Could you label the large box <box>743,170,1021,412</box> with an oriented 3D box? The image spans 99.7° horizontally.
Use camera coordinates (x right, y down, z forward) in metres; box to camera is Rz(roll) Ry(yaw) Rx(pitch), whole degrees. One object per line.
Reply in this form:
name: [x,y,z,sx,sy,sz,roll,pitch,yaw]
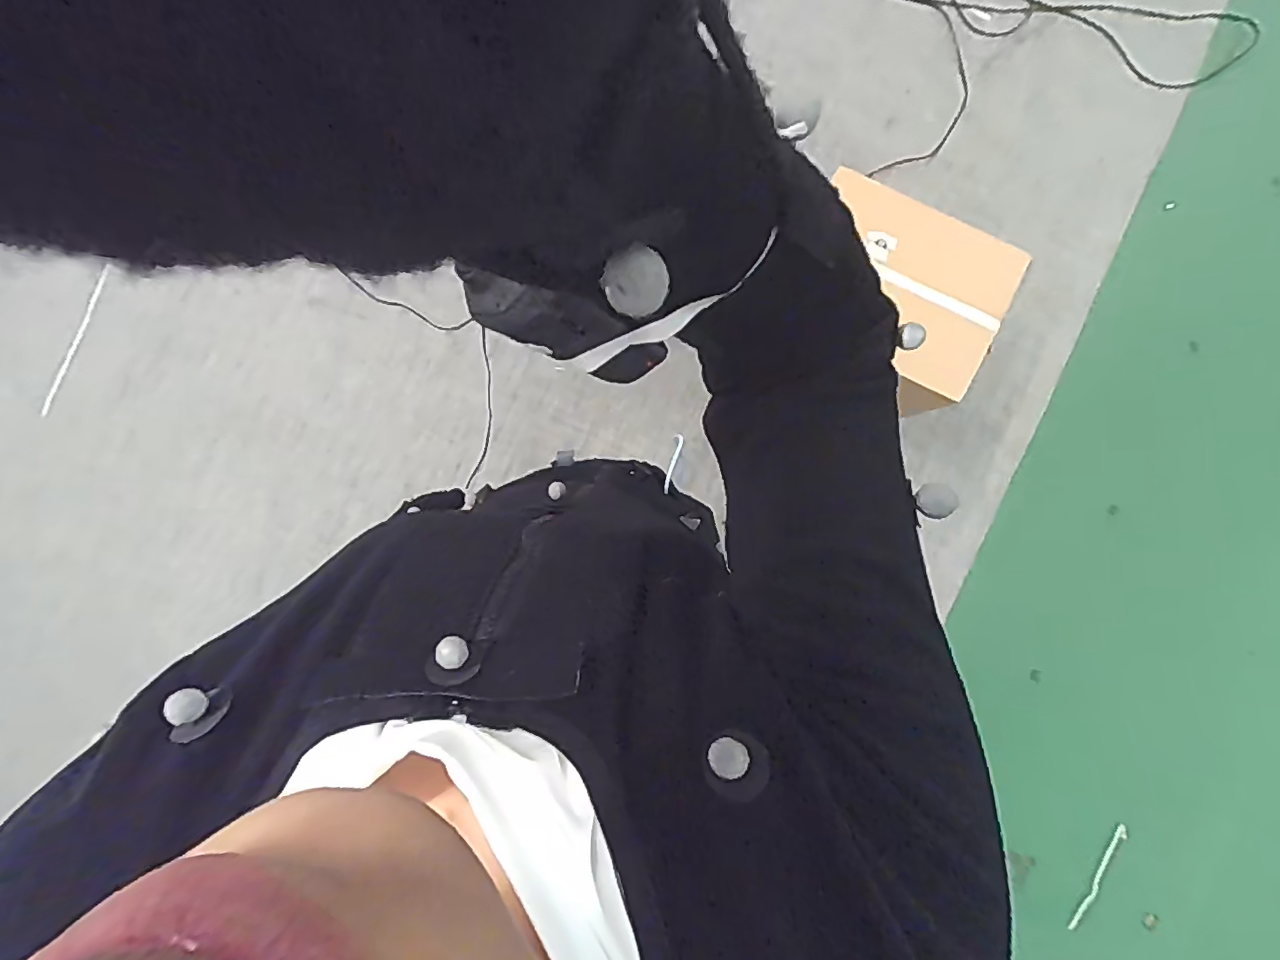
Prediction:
large box: [0.491,-0.379,1.185,0.408,0.320,0.320,26,90,1]
